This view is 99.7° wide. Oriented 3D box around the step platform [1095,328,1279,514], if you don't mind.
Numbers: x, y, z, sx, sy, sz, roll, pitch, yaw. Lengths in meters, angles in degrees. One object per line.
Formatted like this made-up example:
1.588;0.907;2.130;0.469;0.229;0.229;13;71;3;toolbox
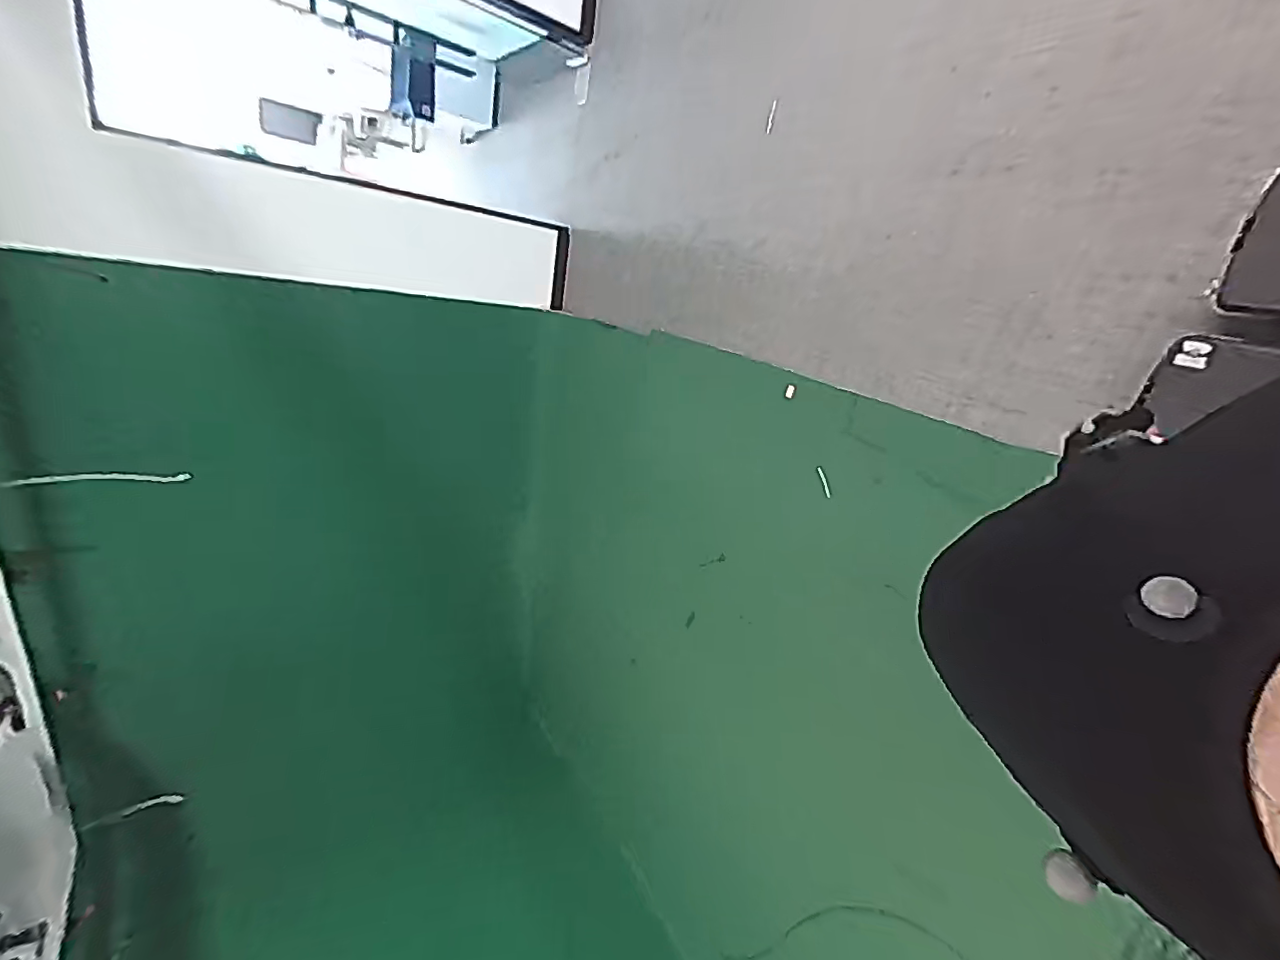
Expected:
1.174;-0.037;0.839;0.684;0.204;0.286;32;119;45;step platform
